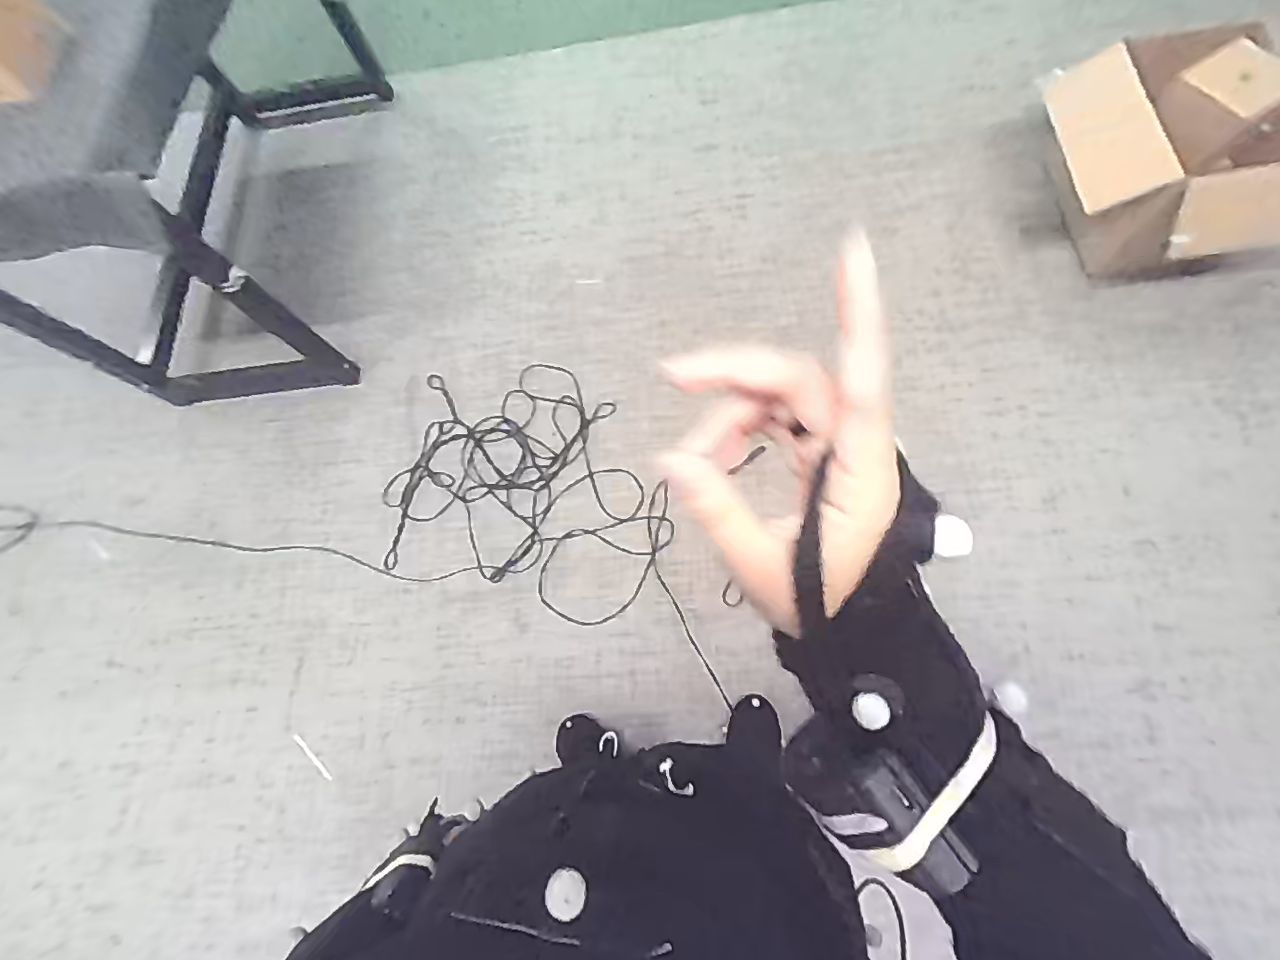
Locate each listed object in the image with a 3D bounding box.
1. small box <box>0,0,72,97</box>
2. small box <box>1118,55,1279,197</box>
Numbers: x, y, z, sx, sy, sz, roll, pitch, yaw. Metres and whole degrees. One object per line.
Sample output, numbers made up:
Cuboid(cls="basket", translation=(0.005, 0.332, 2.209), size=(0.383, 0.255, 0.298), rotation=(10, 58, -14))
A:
Cuboid(cls="small box", translation=(-1.101, -0.762, 0.878), size=(0.168, 0.176, 0.179), rotation=(1, 72, 6))
Cuboid(cls="small box", translation=(1.240, -0.778, 1.202), size=(0.179, 0.176, 0.168), rotation=(-31, 71, -5))
